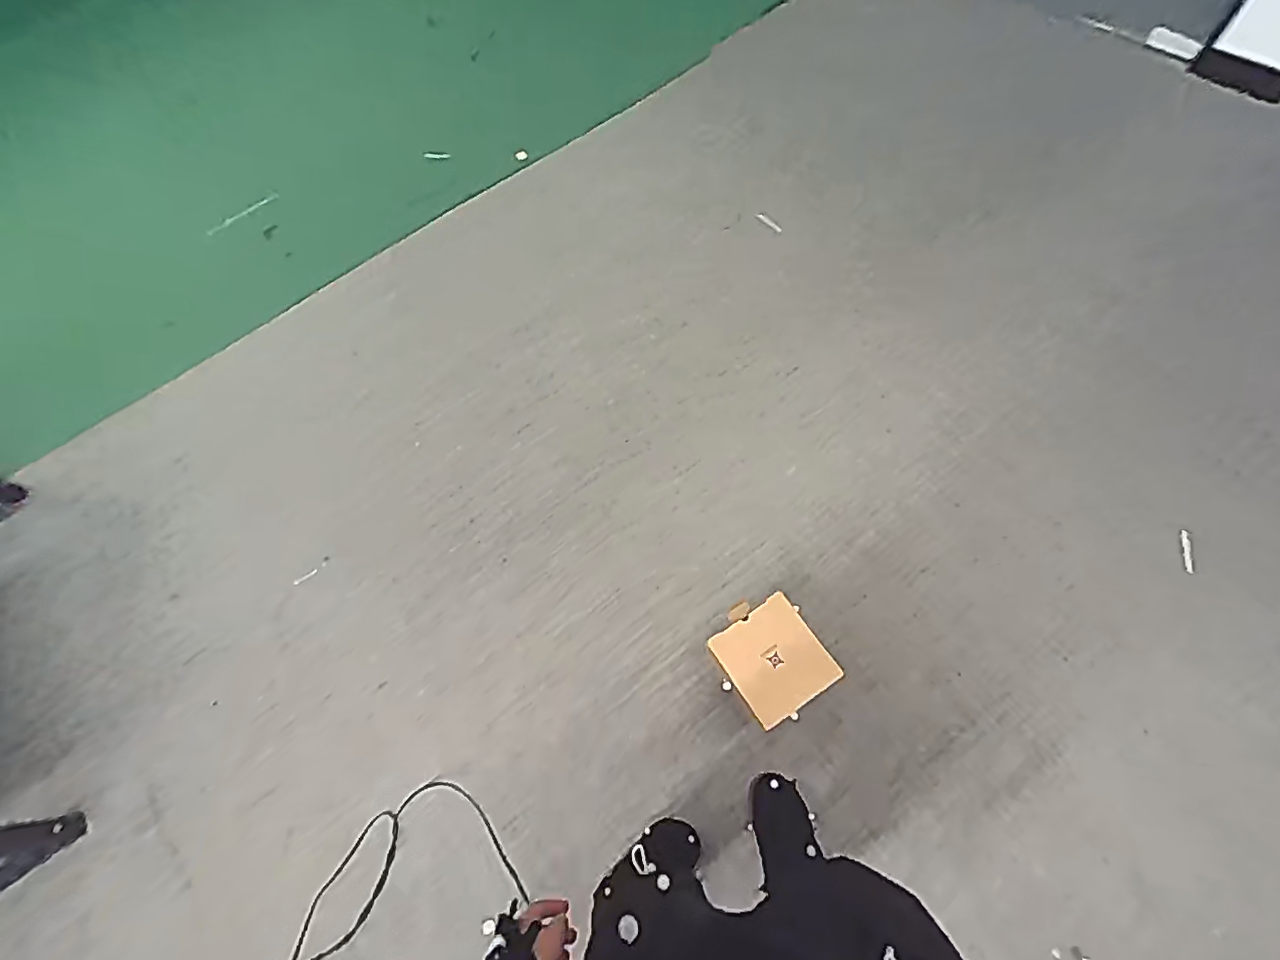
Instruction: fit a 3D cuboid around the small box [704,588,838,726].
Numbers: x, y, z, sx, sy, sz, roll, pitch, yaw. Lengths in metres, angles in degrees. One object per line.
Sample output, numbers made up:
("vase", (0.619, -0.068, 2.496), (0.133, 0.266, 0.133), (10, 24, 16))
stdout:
("small box", (0.237, 0.331, 1.009), (0.168, 0.176, 0.179), (-33, 65, -7))
